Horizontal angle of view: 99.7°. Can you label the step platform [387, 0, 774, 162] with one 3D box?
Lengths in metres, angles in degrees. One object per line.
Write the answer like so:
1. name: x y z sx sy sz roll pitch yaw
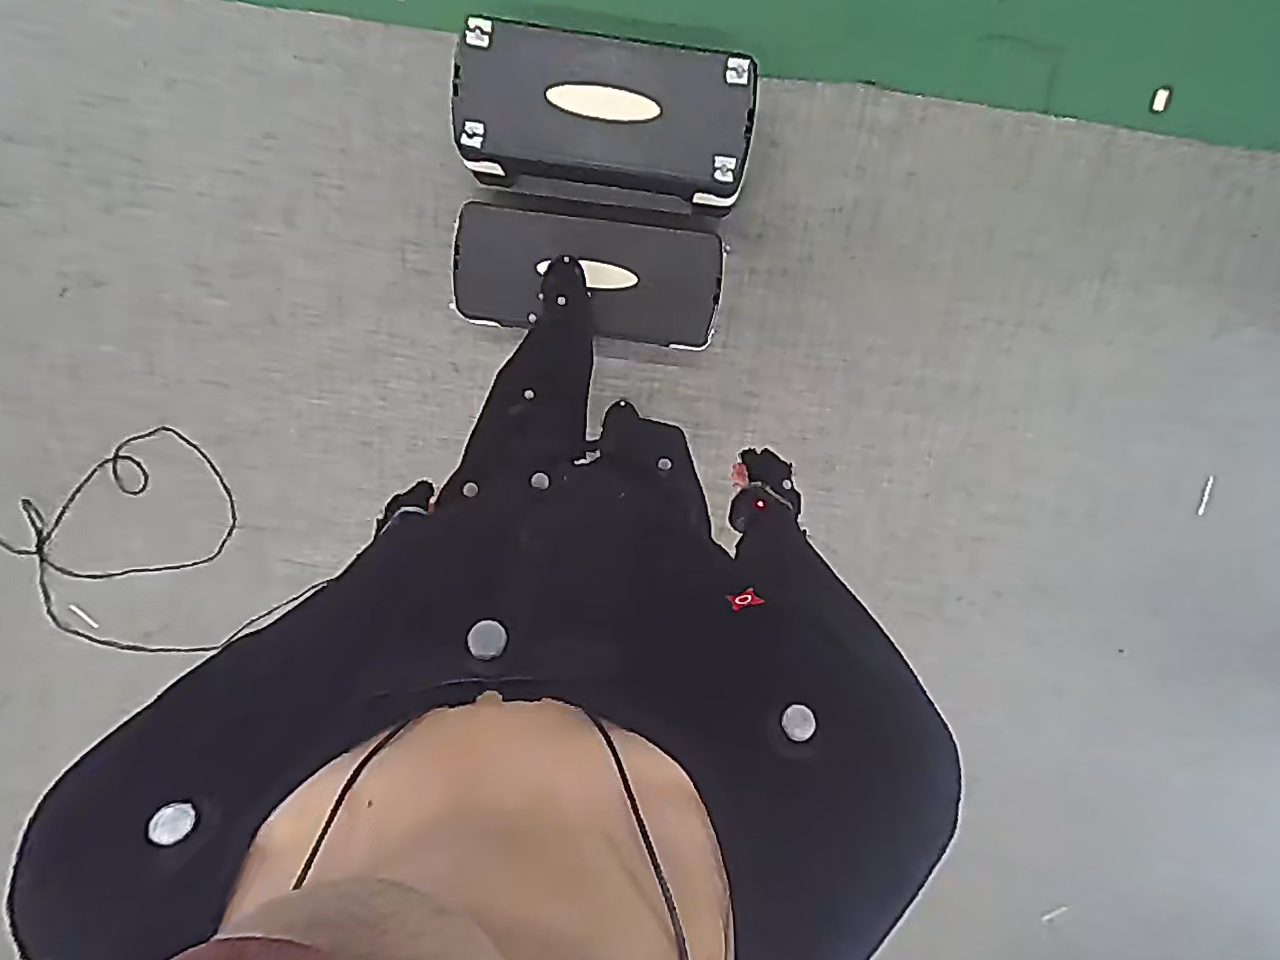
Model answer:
1. step platform: -0.105 -0.827 1.042 0.684 0.204 0.286 7 101 0
